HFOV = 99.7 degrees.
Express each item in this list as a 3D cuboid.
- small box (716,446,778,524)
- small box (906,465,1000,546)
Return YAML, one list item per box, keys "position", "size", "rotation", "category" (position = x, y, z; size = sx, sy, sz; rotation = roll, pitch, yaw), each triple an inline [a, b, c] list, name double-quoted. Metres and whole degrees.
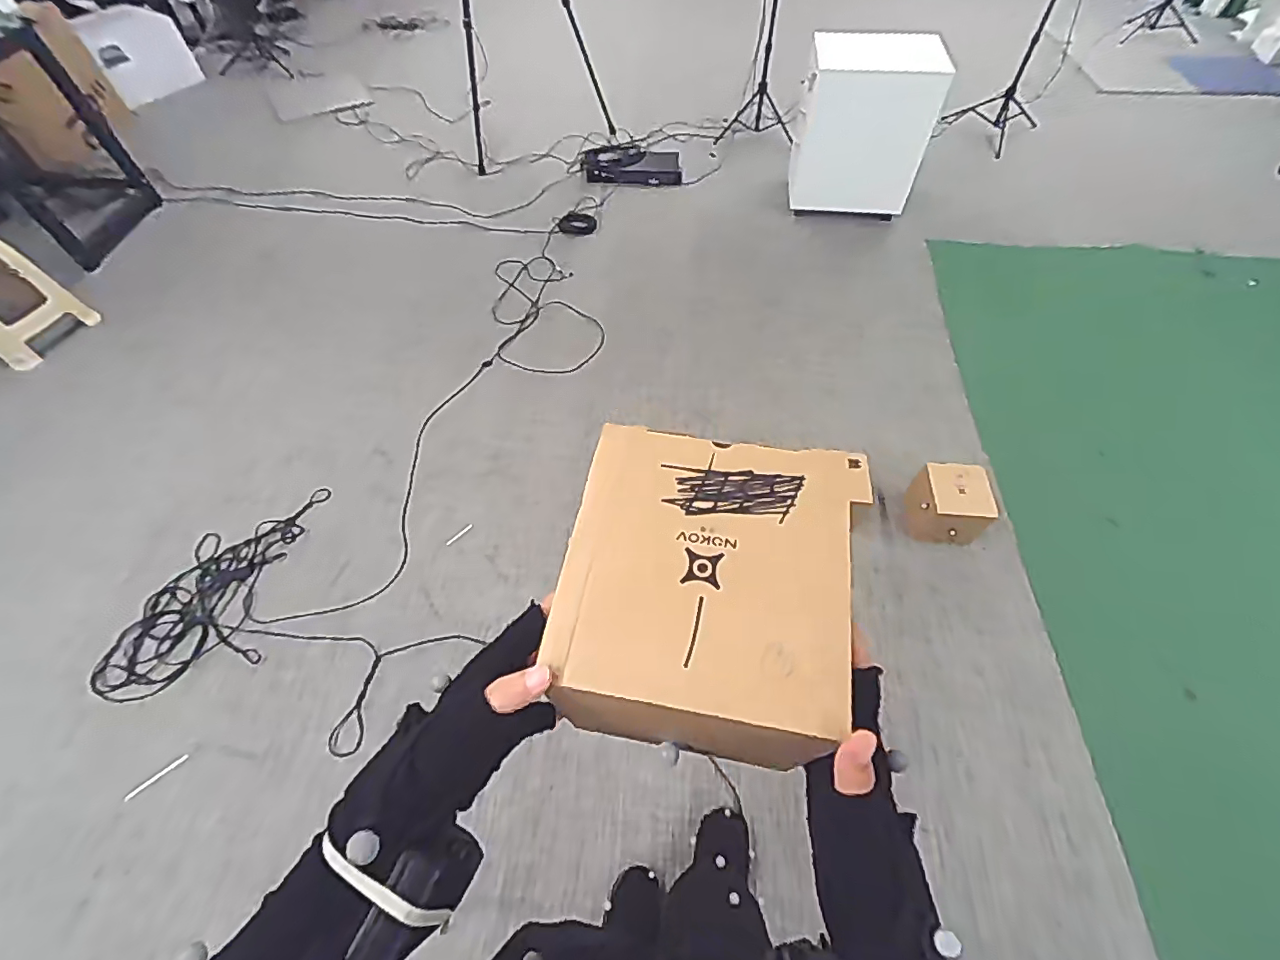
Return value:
- position: [0.320, 0.019, 1.631]
  size: [0.168, 0.176, 0.179]
  rotation: [4, 56, 4]
  category: "small box"
- position: [0.904, 0.079, 1.579]
  size: [0.168, 0.176, 0.179]
  rotation: [5, 56, 4]
  category: "small box"
